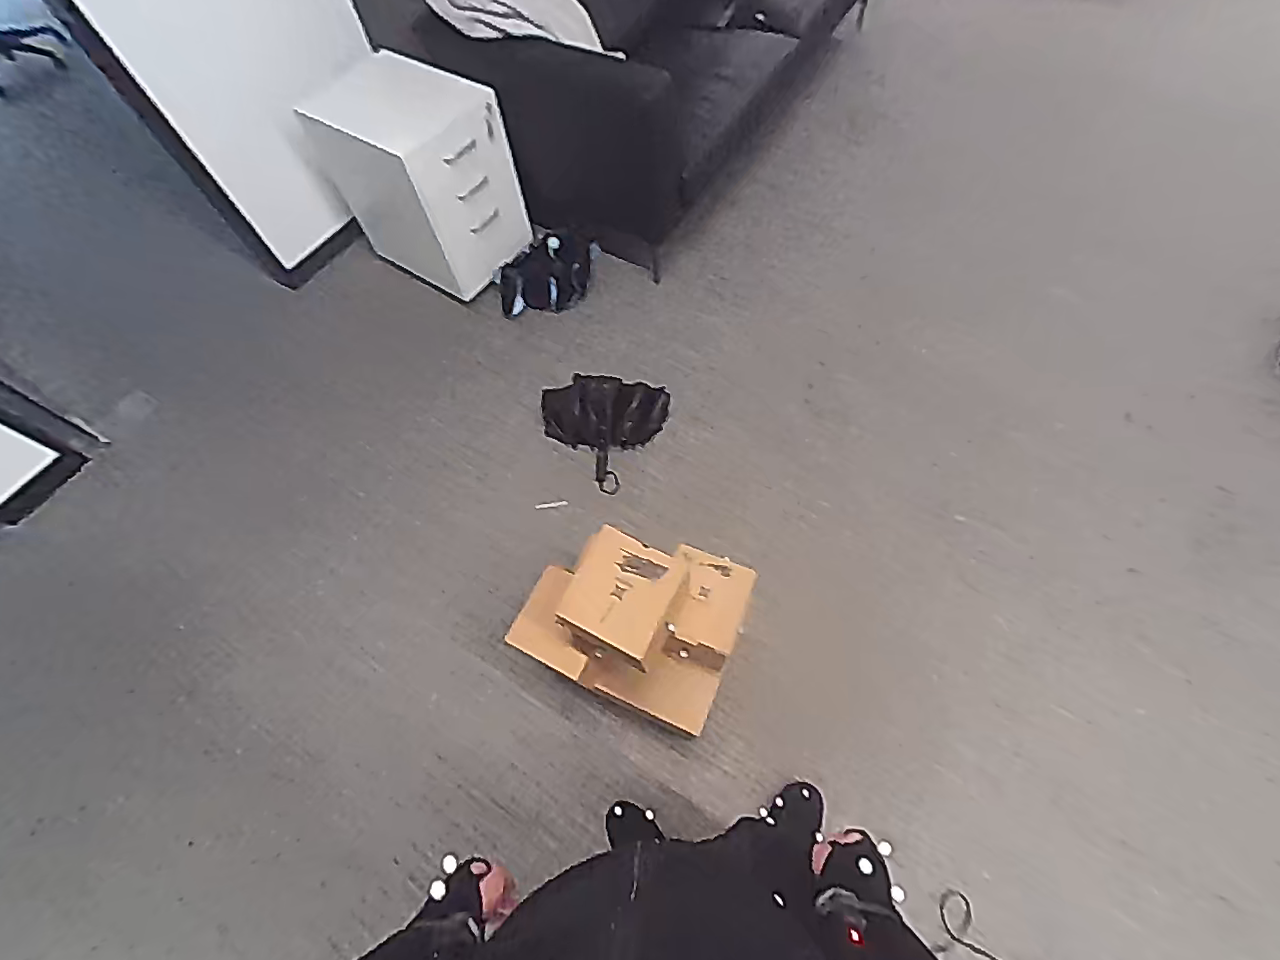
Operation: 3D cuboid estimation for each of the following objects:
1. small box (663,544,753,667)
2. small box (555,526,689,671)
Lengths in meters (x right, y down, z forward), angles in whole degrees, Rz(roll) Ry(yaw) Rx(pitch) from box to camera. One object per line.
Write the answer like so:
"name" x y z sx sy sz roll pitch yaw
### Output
"small box" 0.121 0.263 1.107 0.168 0.176 0.179 19 65 14
"small box" -0.024 0.214 0.958 0.168 0.176 0.179 24 69 17
